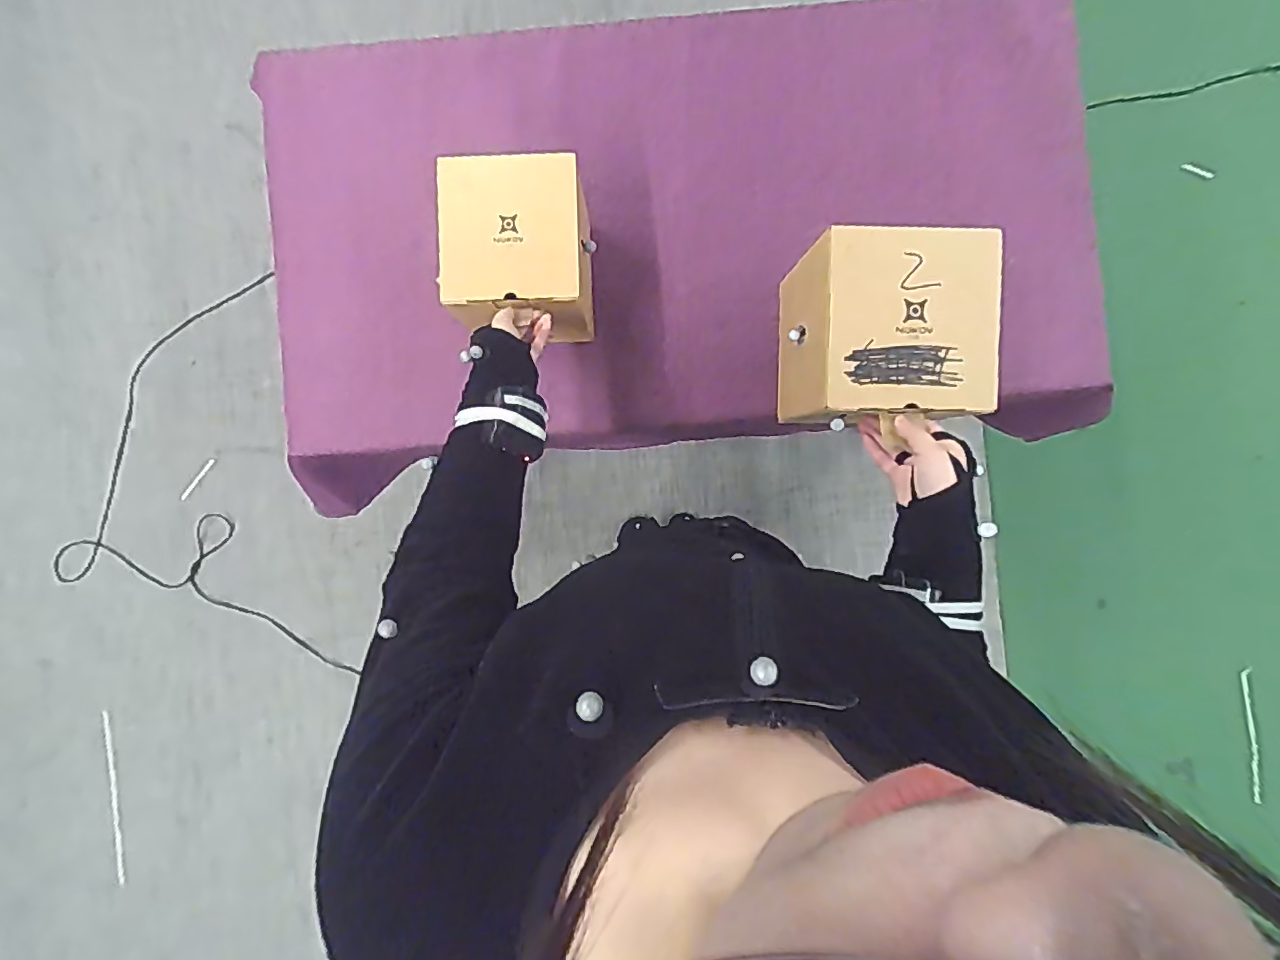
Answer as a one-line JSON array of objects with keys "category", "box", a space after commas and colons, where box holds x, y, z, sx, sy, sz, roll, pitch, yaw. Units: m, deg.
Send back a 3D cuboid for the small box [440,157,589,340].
[{"category": "small box", "box": [-0.159, -0.298, 0.727, 0.168, 0.176, 0.179, -2, 89, 0]}]
